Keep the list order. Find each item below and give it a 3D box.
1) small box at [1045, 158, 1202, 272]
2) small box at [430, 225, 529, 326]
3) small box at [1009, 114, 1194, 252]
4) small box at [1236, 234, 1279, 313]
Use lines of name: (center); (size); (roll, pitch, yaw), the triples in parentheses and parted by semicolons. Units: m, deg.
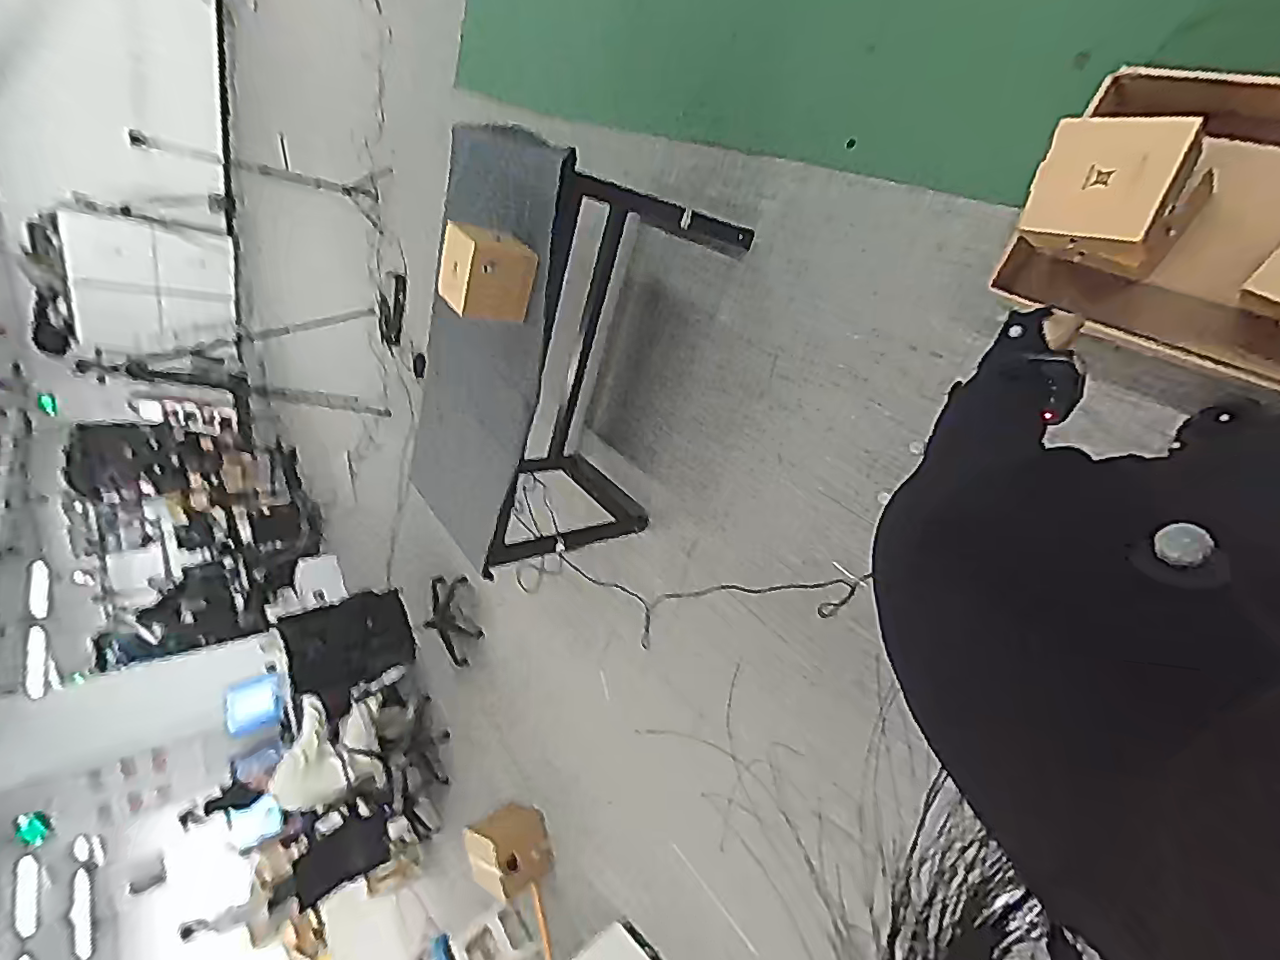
small box: (0.876, -0.498, 1.000); (0.179, 0.176, 0.168); (41, 125, 35)
small box: (-0.393, -0.498, 1.331); (0.168, 0.176, 0.179); (45, 127, 35)
small box: (0.754, -0.481, 0.890); (0.179, 0.176, 0.168); (29, 118, 38)
small box: (1.073, -0.338, 0.822); (0.168, 0.176, 0.179); (47, 129, 31)
